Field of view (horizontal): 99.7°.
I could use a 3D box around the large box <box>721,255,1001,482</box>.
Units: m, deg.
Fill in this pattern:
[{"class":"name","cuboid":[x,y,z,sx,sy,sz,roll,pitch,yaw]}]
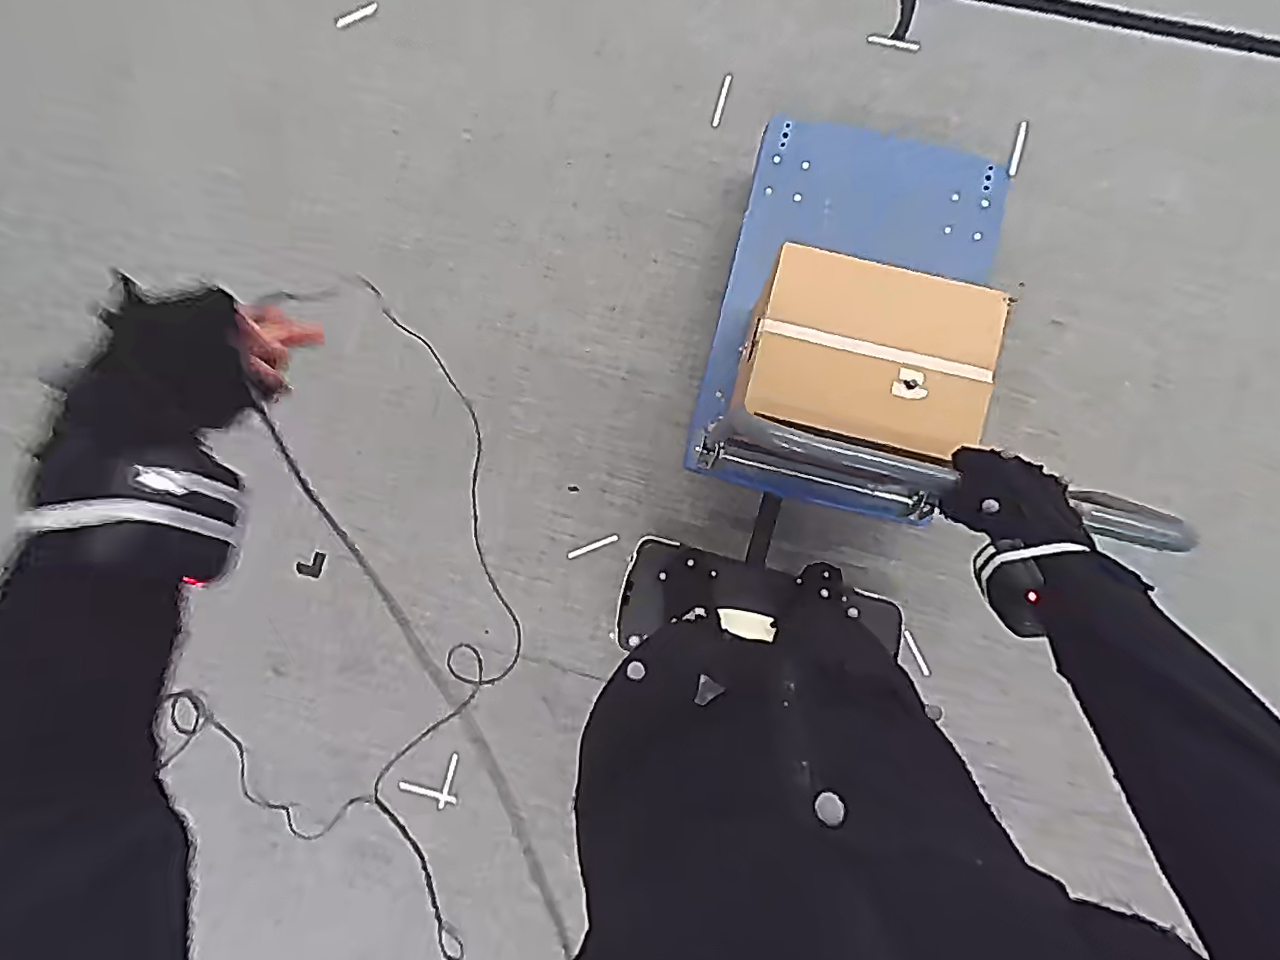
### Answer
[{"class":"large box","cuboid":[0.403,-0.196,1.083,0.408,0.320,0.320,14,87,2]}]
